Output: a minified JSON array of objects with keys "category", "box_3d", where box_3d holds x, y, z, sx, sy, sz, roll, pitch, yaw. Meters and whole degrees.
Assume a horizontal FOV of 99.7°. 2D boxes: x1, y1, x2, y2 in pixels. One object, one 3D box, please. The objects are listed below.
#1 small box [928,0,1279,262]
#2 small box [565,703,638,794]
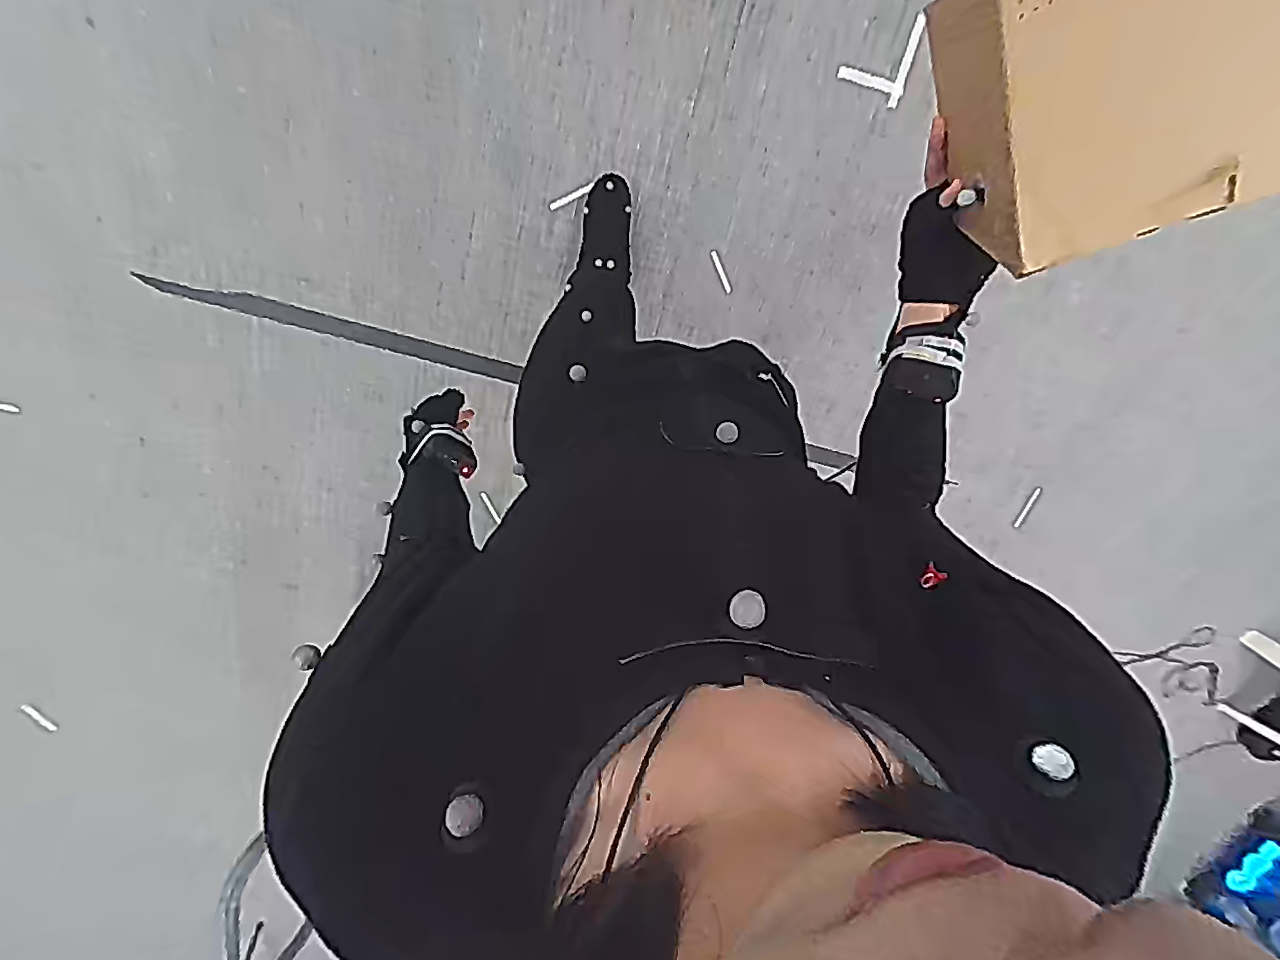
[{"category":"small box","box_3d":[0.302,-0.272,0.350,0.168,0.179,0.176,-14,120,22]},{"category":"small box","box_3d":[-0.114,0.788,1.596,0.179,0.176,0.168,13,113,-10]}]
